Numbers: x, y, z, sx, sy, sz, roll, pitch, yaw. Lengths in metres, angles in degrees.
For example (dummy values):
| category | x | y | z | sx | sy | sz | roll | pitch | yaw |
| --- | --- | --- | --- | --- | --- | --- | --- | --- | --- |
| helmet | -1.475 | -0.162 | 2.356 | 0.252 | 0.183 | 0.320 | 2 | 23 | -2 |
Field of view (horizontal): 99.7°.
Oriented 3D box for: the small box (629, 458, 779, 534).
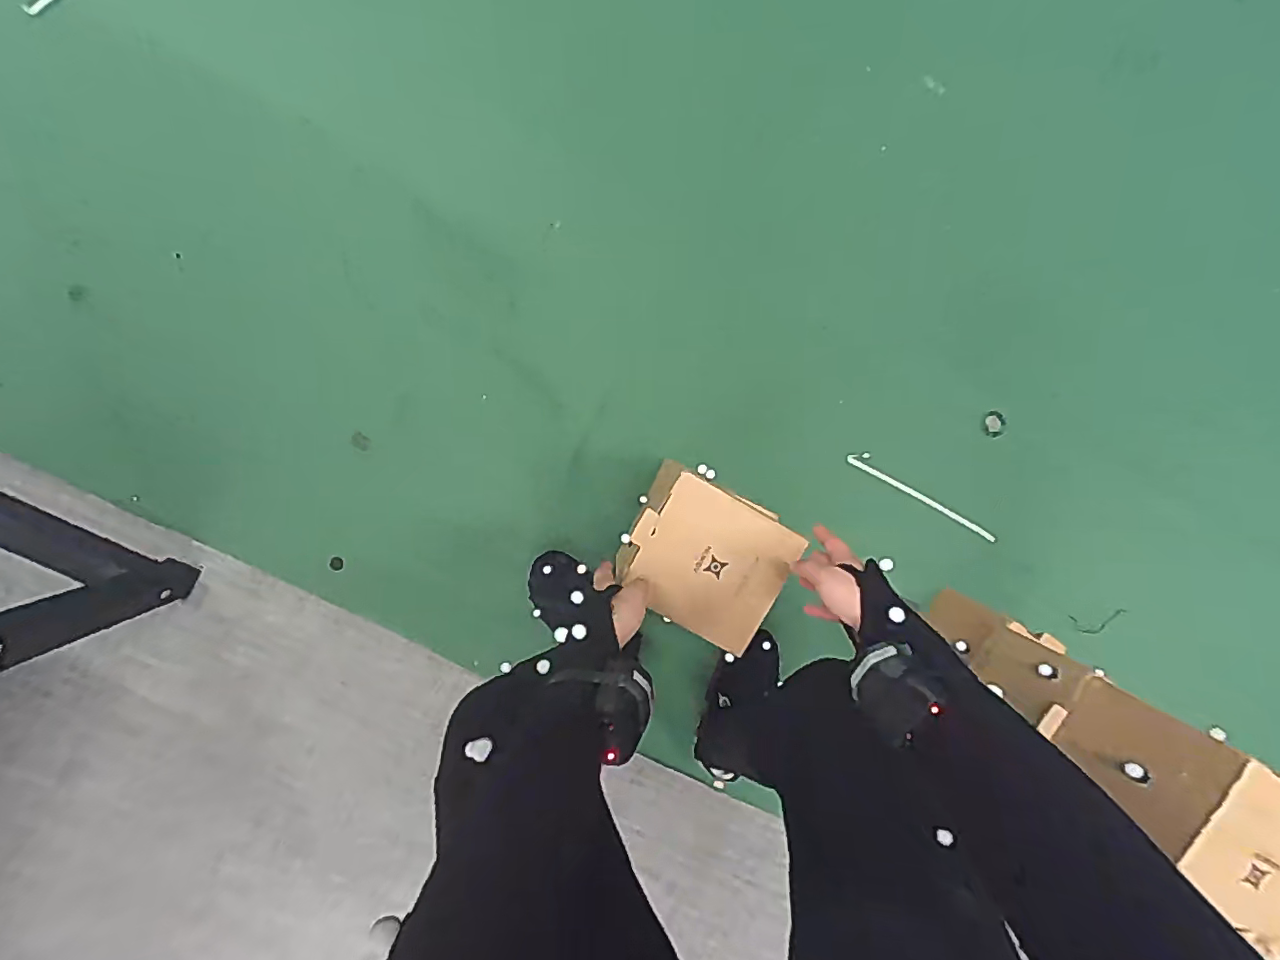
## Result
| category | x | y | z | sx | sy | sz | roll | pitch | yaw |
| --- | --- | --- | --- | --- | --- | --- | --- | --- | --- |
| small box | 0.090 | 0.073 | 0.873 | 0.179 | 0.176 | 0.168 | 27 | 96 | -6 |

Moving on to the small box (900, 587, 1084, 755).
| category | x | y | z | sx | sy | sz | roll | pitch | yaw |
| --- | --- | --- | --- | --- | --- | --- | --- | --- | --- |
| small box | 0.584 | 0.317 | 0.929 | 0.168 | 0.176 | 0.179 | 35 | 94 | -7 |

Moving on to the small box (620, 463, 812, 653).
| category | x | y | z | sx | sy | sz | roll | pitch | yaw |
| --- | --- | --- | --- | --- | --- | --- | --- | --- | --- |
| small box | 0.086 | 0.088 | 0.711 | 0.179 | 0.176 | 0.168 | 29 | 96 | -6 |

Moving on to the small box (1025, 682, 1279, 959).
| category | x | y | z | sx | sy | sz | roll | pitch | yaw |
| --- | --- | --- | --- | --- | --- | --- | --- | --- | --- |
| small box | 0.589 | 0.362 | 0.603 | 0.168 | 0.176 | 0.179 | 31 | 94 | -8 |
